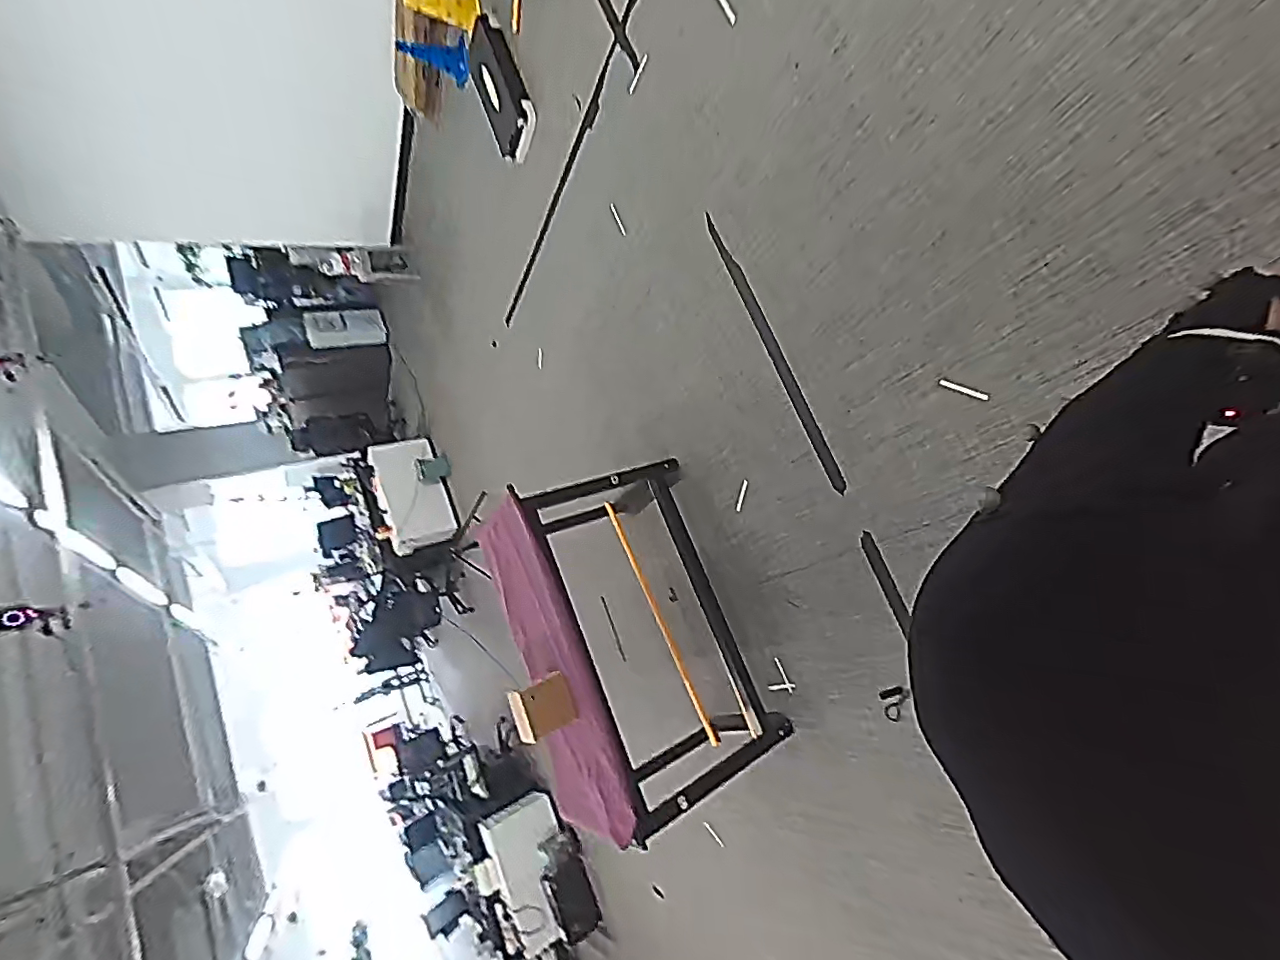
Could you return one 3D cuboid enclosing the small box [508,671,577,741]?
[{"bbox_3d":[-0.341,0.790,1.896,0.168,0.176,0.179,-39,70,55],"label":"small box"}]
